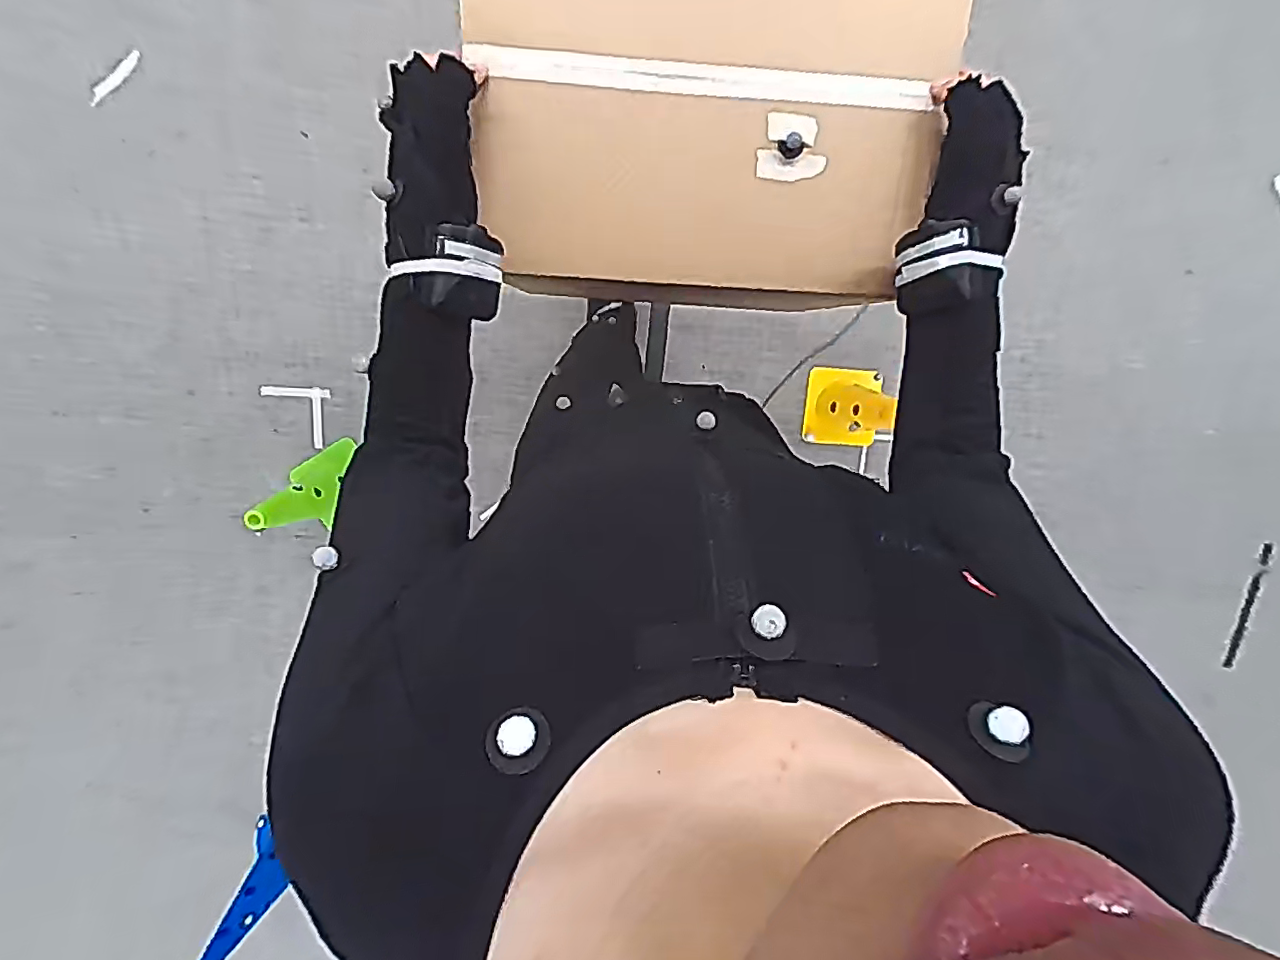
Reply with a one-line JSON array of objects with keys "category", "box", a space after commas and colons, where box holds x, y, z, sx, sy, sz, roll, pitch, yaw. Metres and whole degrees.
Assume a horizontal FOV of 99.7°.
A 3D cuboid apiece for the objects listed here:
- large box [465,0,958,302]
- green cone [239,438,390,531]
[{"category": "large box", "box": [0.048, -0.372, 0.589, 0.408, 0.320, 0.320, 2, 105, -4]}, {"category": "green cone", "box": [-0.790, 0.046, 1.265, 0.202, 0.368, 0.200, -32, 99, 5]}]
